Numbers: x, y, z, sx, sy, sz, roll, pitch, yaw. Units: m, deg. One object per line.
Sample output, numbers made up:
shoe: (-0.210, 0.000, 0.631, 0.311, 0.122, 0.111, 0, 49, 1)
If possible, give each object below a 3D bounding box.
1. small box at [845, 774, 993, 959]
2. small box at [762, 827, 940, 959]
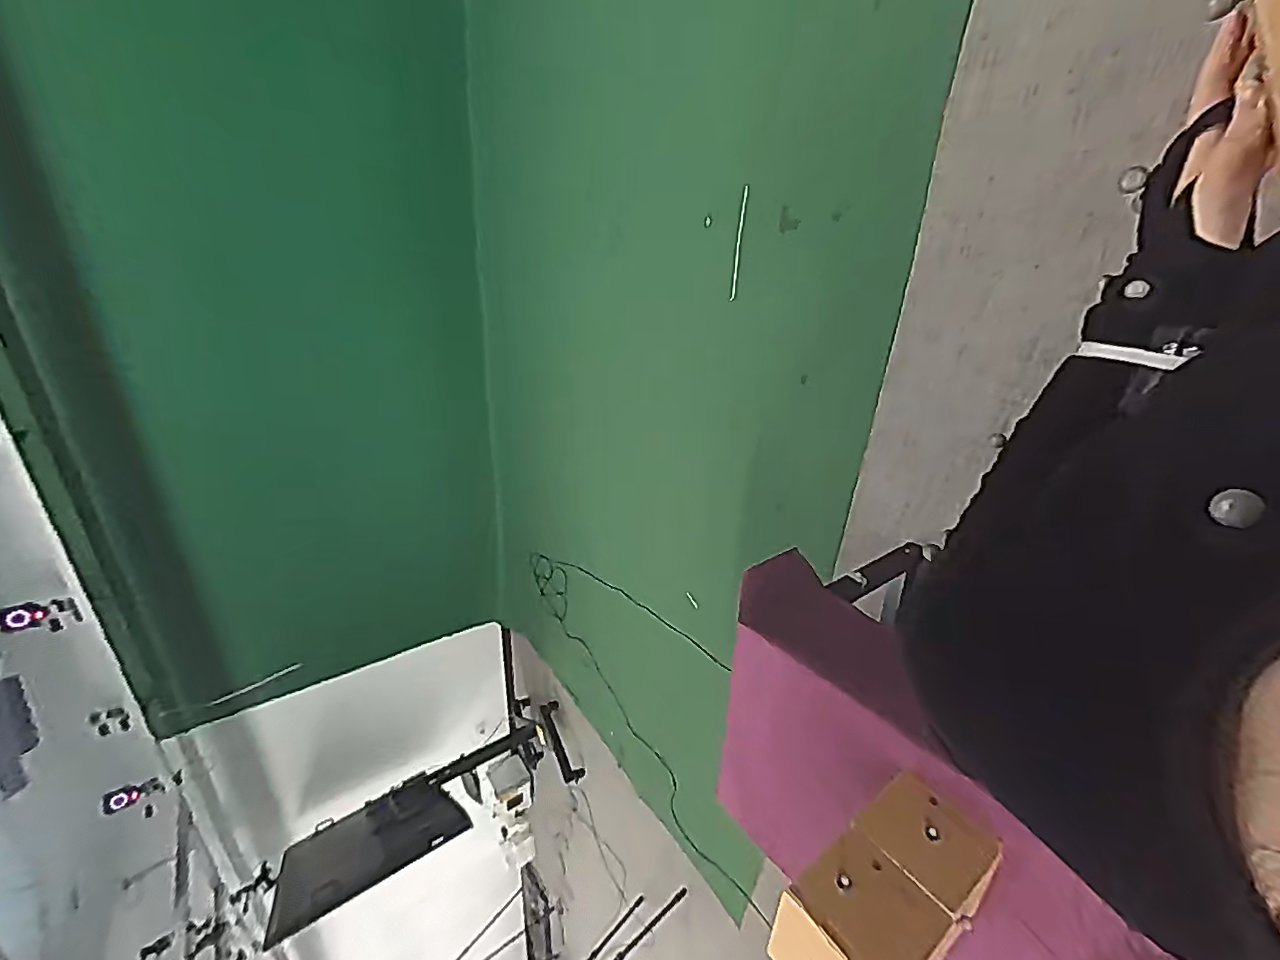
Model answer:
small box: (0.442, 0.632, 0.886, 0.168, 0.176, 0.179, 31, 127, 48)
small box: (0.309, 0.668, 0.799, 0.168, 0.176, 0.179, 33, 128, 46)
